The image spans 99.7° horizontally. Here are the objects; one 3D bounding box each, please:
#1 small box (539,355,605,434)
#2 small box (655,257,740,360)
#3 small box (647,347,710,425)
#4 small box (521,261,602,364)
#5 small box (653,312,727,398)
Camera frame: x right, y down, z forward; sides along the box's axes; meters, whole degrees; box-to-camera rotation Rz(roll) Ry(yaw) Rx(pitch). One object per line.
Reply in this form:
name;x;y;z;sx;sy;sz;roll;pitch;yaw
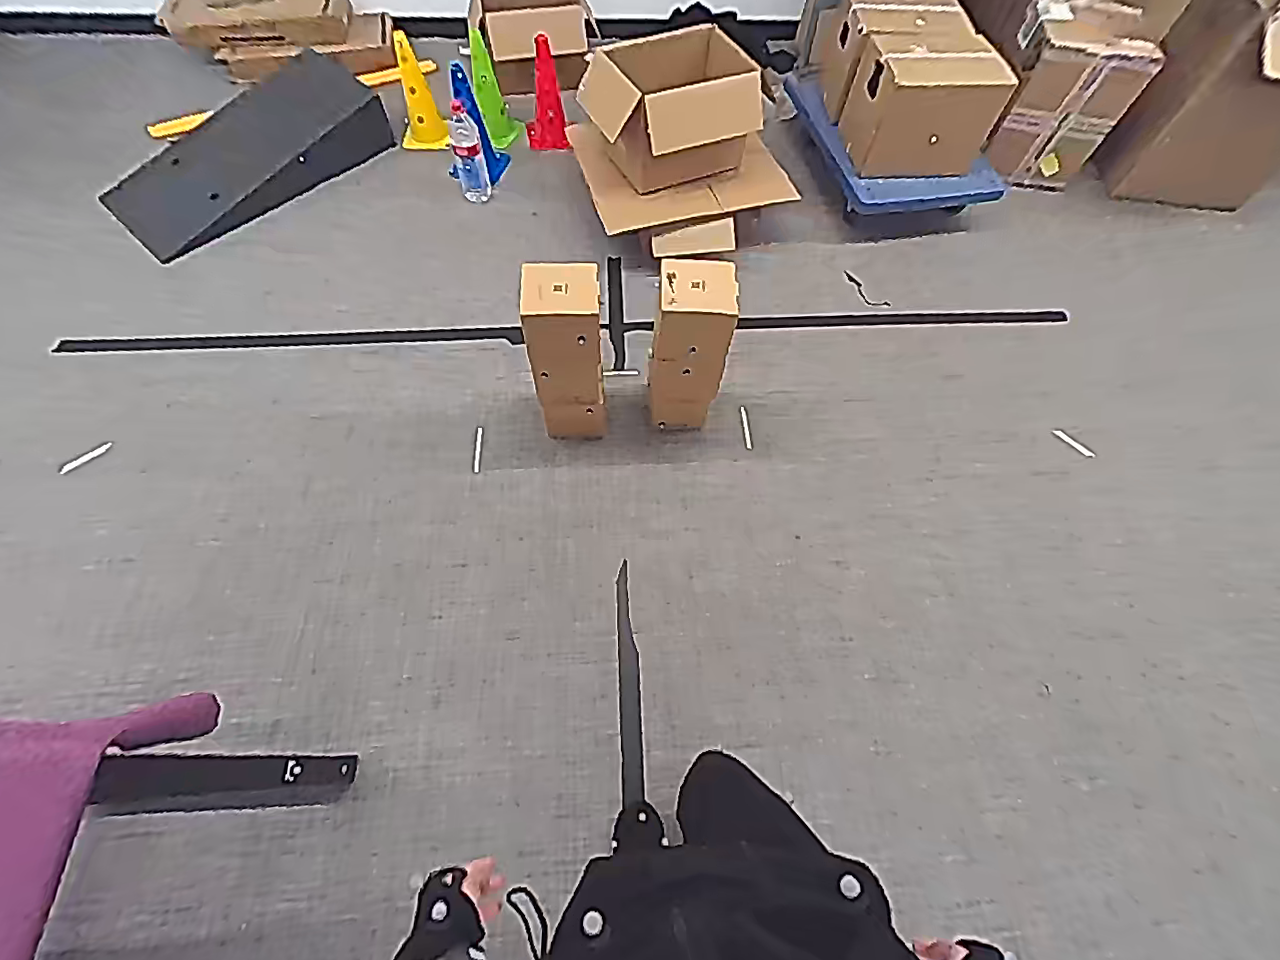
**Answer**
small box;-0.190;-0.243;1.566;0.179;0.176;0.168;-1;63;-4
small box;0.132;-0.404;1.294;0.179;0.176;0.168;3;63;-3
small box;0.111;-0.273;1.595;0.168;0.176;0.179;-2;62;-5
small box;-0.180;-0.391;1.274;0.179;0.176;0.168;-3;61;-4
small box;0.125;-0.333;1.442;0.179;0.176;0.168;0;64;-4
